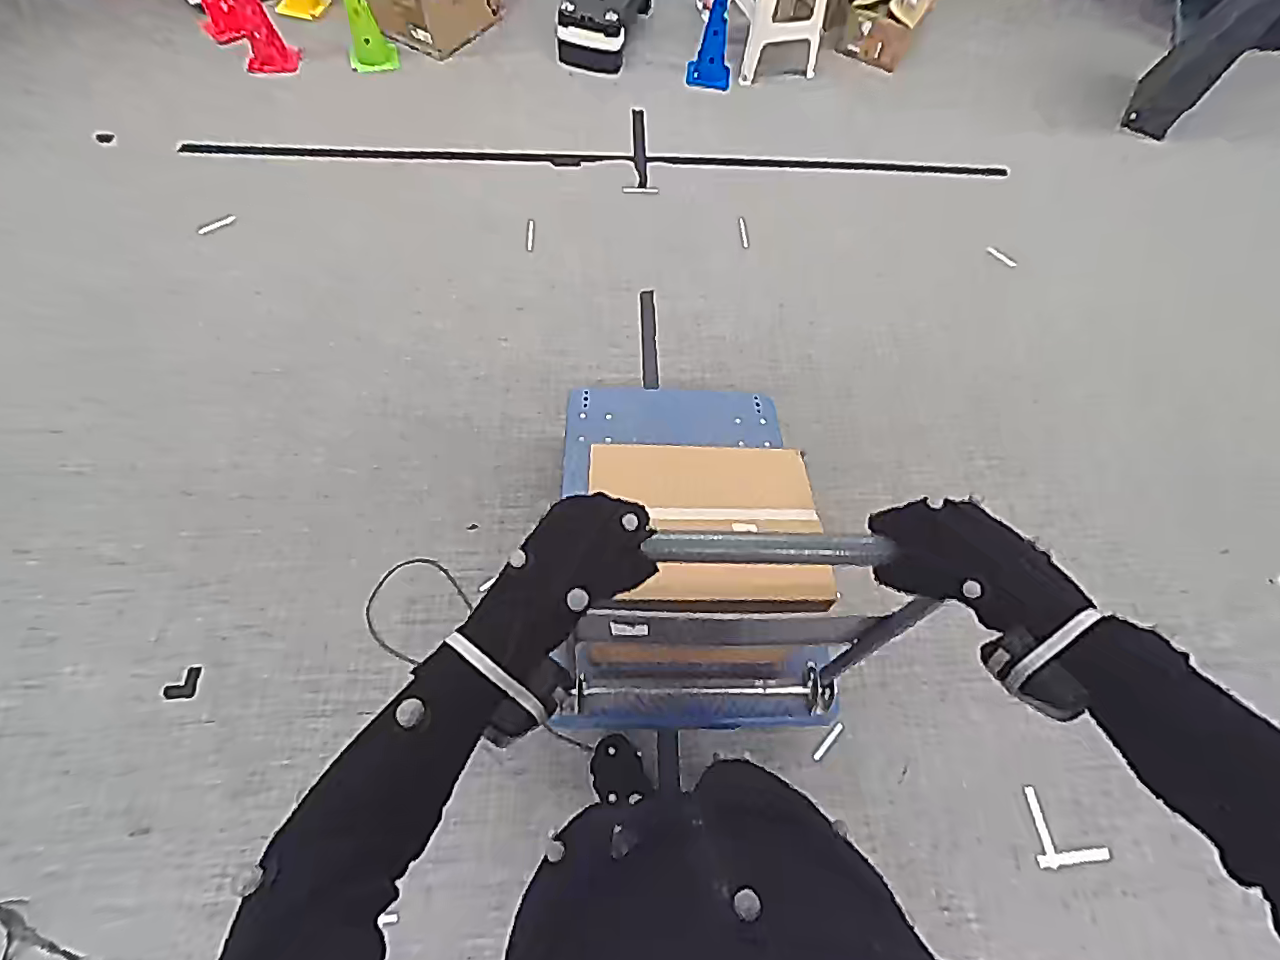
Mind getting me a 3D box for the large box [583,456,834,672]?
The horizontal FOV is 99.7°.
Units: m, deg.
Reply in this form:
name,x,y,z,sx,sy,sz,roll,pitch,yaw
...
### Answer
name,x,y,z,sx,sy,sz,roll,pitch,yaw
large box,0.094,0.169,1.047,0.408,0.320,0.320,1,54,-5
